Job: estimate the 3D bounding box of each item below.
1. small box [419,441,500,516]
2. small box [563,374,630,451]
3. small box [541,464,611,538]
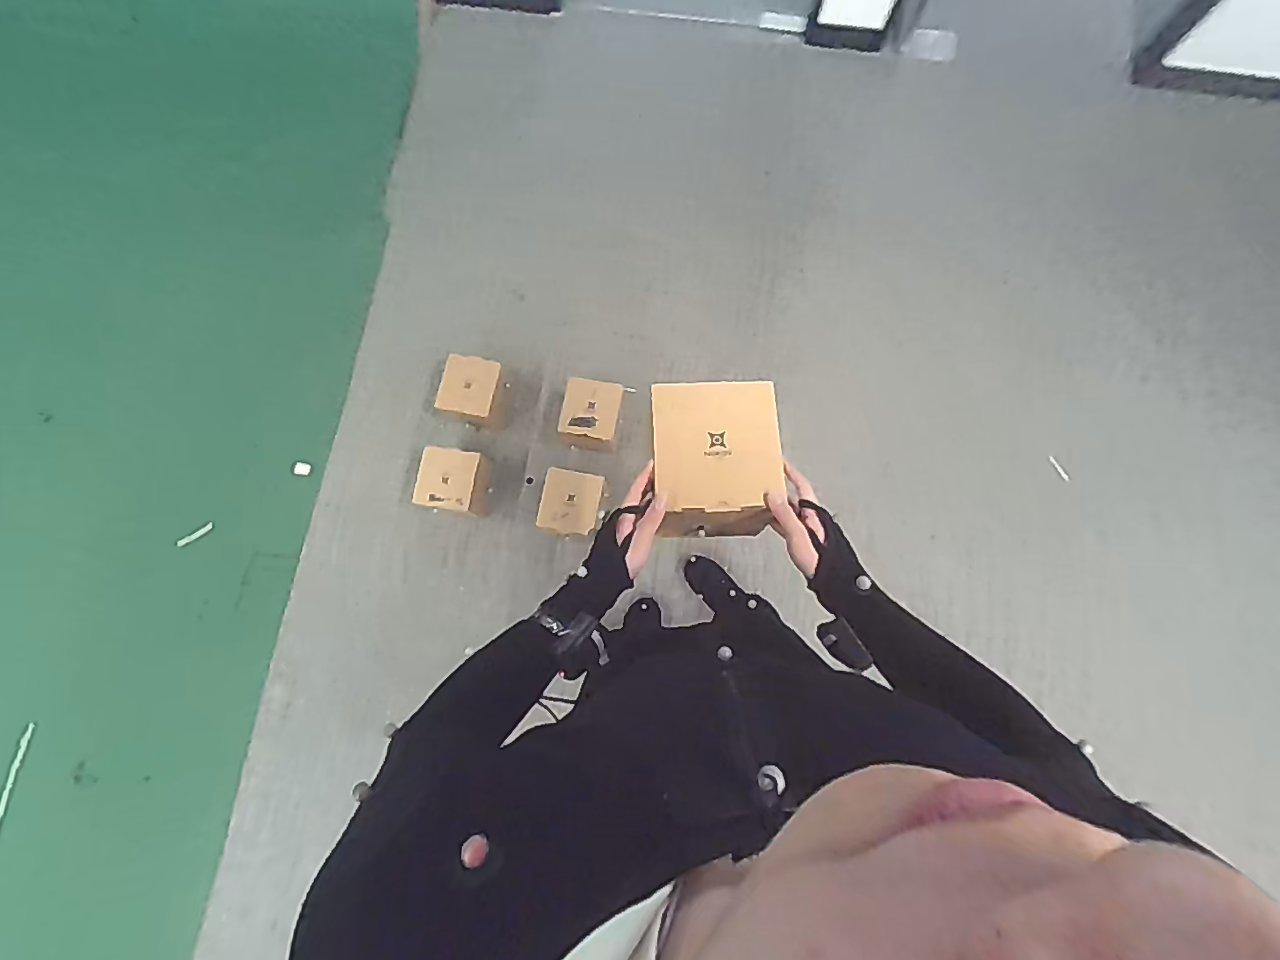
[{"bbox_3d":[-0.533,0.000,1.627,0.168,0.176,0.179,10,78,4],"label":"small box"},{"bbox_3d":[-0.127,-0.200,1.658,0.168,0.176,0.179,12,79,3],"label":"small box"},{"bbox_3d":[-0.182,0.068,1.608,0.168,0.176,0.179,11,80,3],"label":"small box"}]
